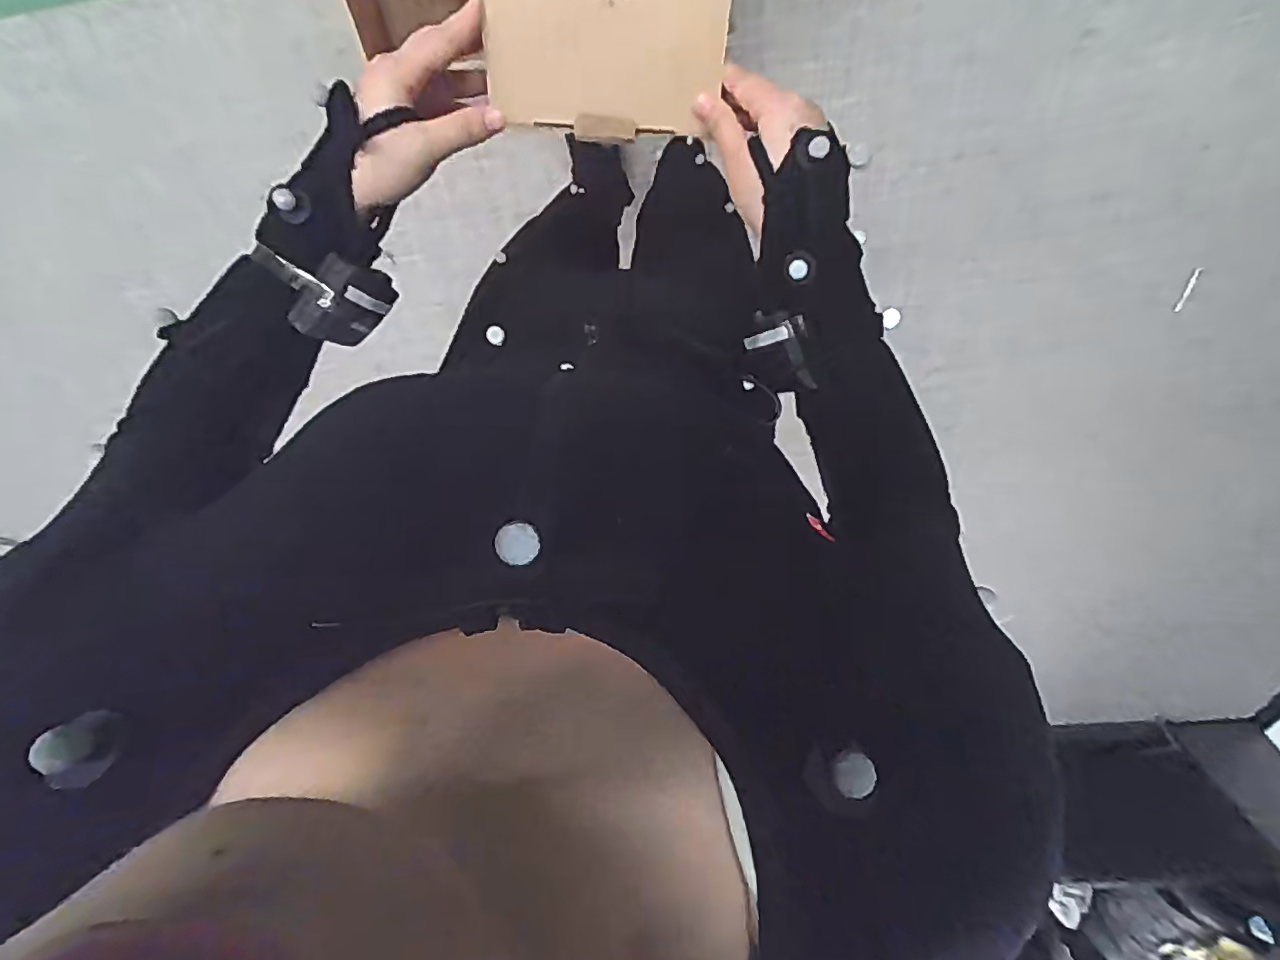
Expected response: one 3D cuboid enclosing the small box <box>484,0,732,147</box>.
[{"bbox_3d":[-0.020,-0.369,0.410,0.168,0.176,0.179,1,128,-1],"label":"small box"}]
